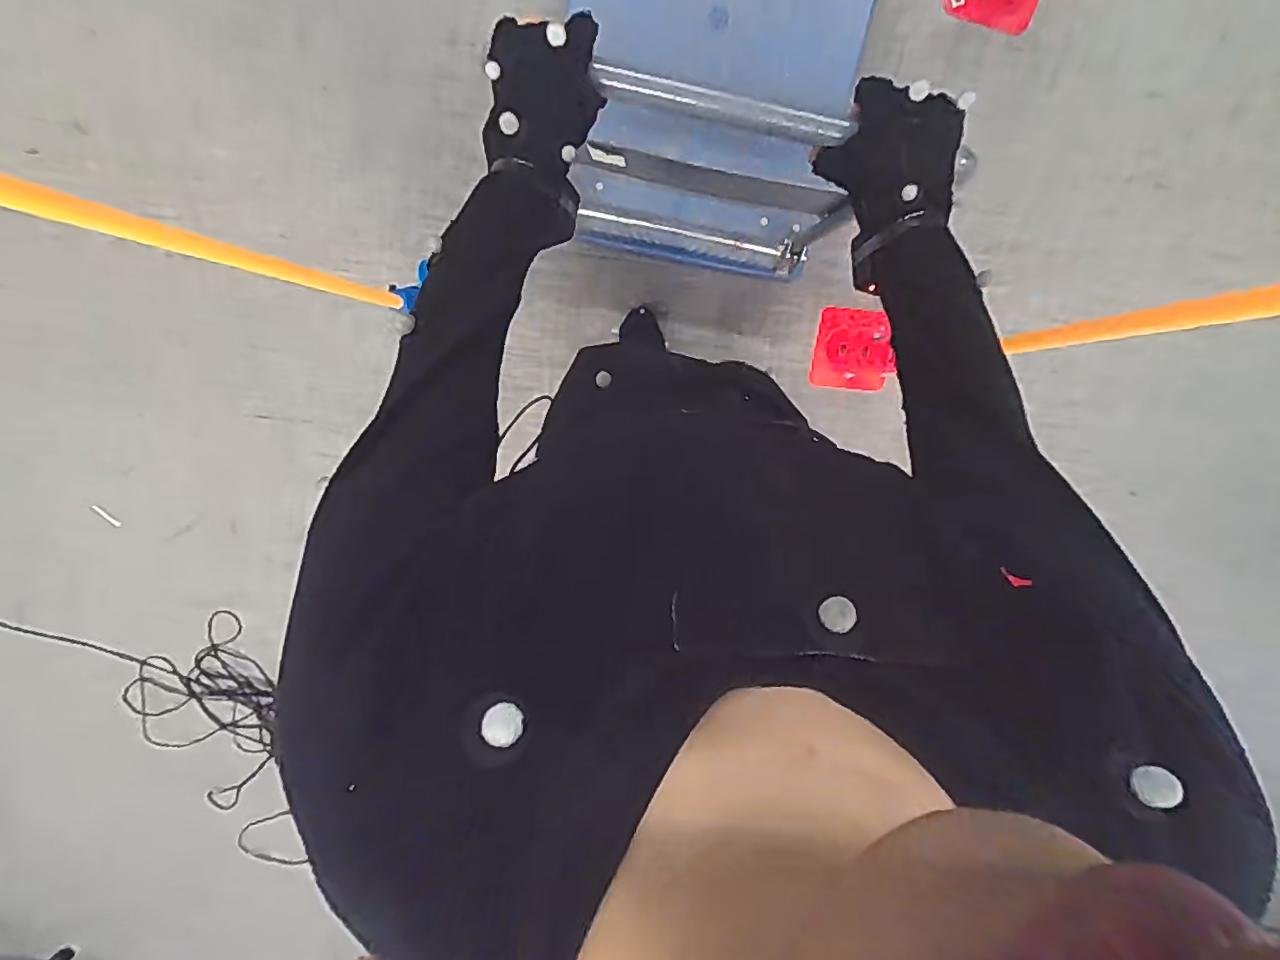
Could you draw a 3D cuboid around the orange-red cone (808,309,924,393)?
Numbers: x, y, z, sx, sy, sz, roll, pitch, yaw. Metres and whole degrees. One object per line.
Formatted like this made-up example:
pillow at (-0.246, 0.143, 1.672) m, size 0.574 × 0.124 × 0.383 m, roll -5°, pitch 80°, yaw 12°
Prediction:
orange-red cone at (0.542, -0.286, 1.232) m, size 0.199 × 0.360 × 0.198 m, roll 7°, pitch 105°, yaw -1°
